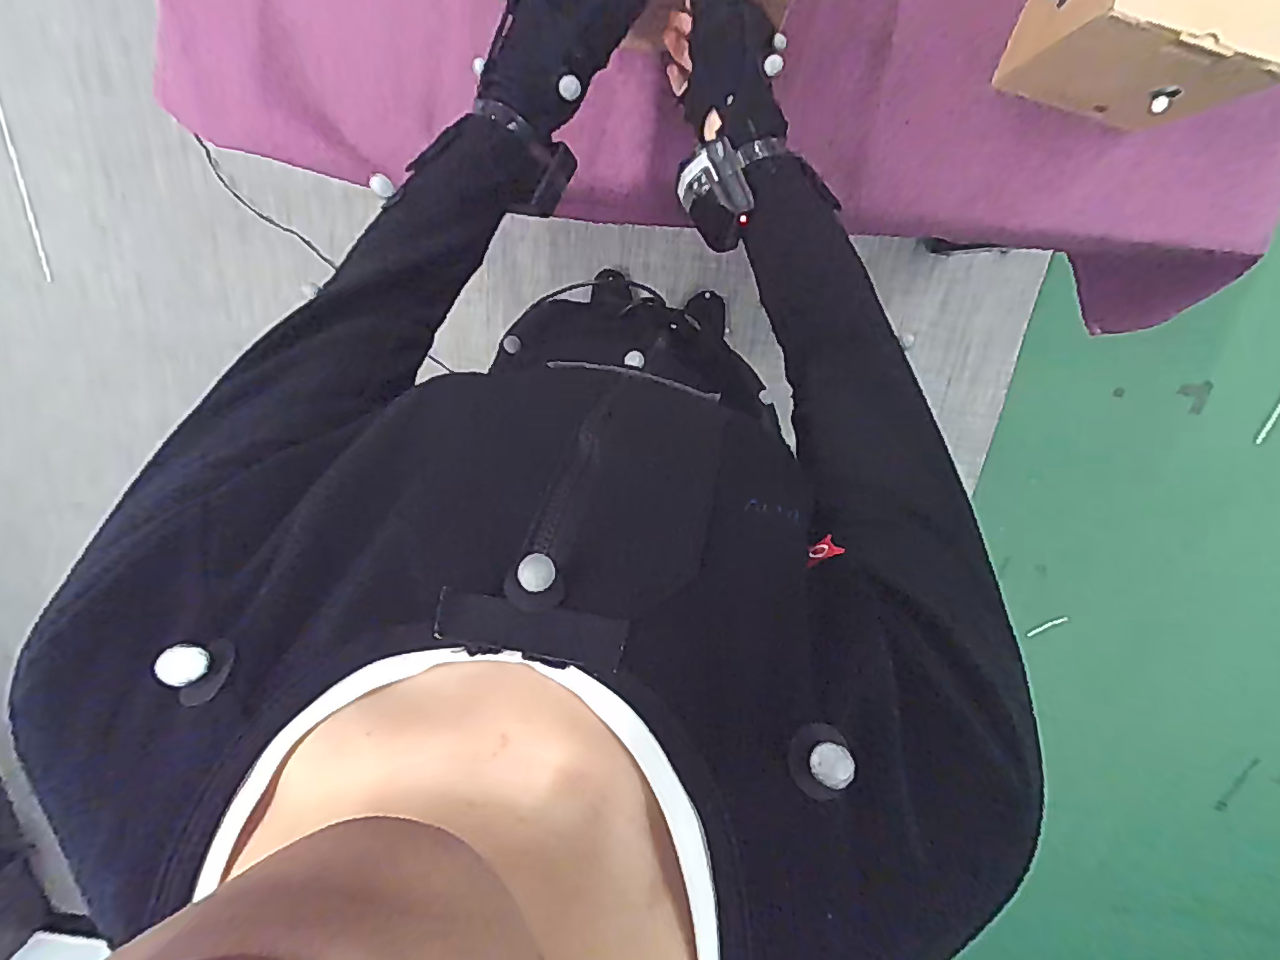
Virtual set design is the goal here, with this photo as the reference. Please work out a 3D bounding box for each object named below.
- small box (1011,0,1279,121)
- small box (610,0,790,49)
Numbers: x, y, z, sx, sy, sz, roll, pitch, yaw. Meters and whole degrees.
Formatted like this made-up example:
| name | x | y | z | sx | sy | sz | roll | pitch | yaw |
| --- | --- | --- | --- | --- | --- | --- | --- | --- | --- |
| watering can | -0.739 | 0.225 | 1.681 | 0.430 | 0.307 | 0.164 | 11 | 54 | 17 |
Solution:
| name | x | y | z | sx | sy | sz | roll | pitch | yaw |
| --- | --- | --- | --- | --- | --- | --- | --- | --- | --- |
| small box | 0.458 | -0.434 | 0.451 | 0.168 | 0.176 | 0.179 | 17 | 111 | -2 |
| small box | 0.059 | -0.499 | 0.456 | 0.168 | 0.176 | 0.179 | 6 | 111 | 2 |
